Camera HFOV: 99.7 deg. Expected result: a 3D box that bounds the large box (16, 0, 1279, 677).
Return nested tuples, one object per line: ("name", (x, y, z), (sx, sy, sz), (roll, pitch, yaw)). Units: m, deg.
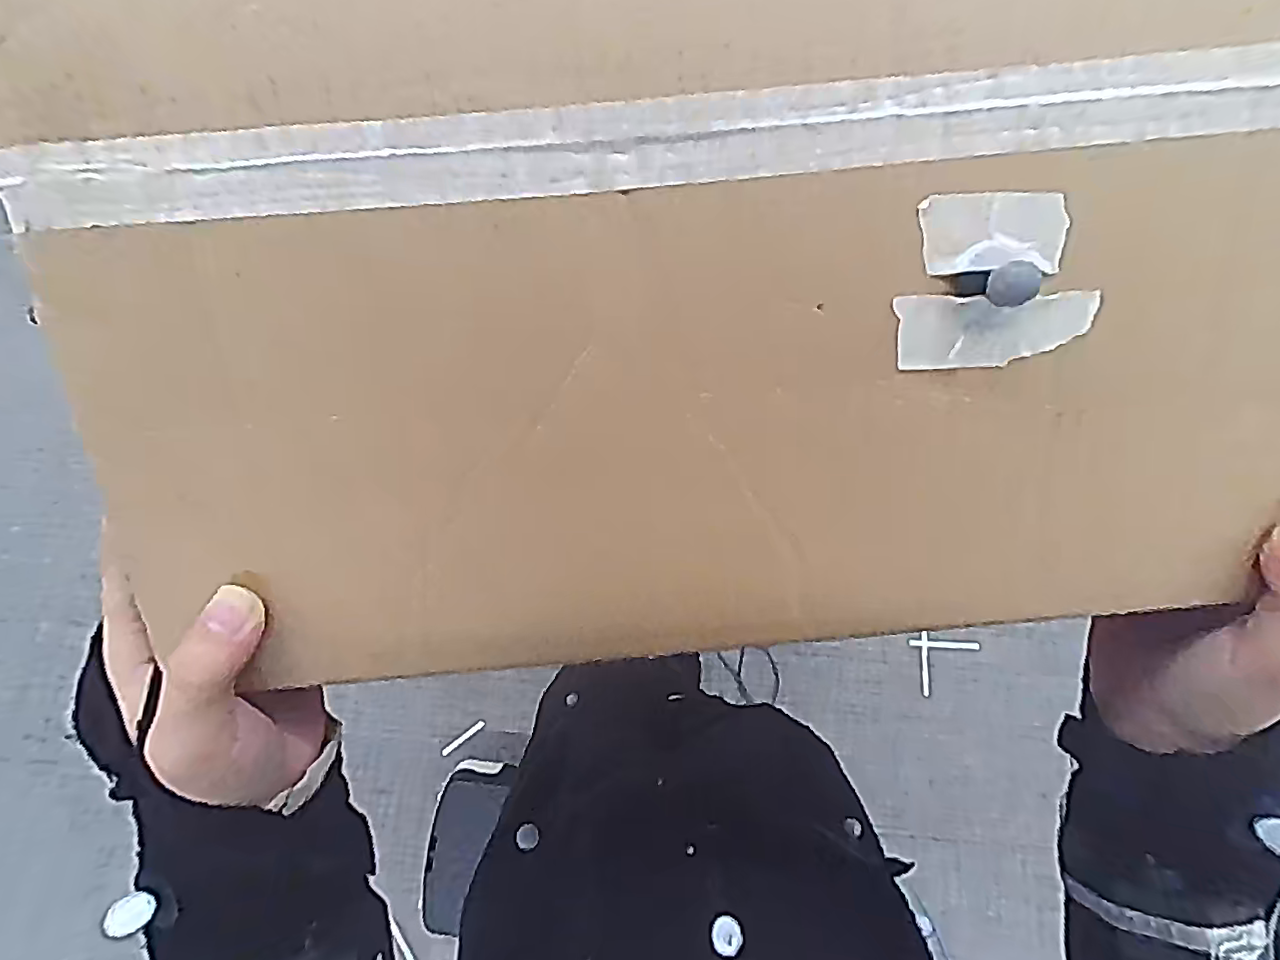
("large box", (0.024, -0.130, 0.307), (0.408, 0.320, 0.320), (-6, 104, -2))
